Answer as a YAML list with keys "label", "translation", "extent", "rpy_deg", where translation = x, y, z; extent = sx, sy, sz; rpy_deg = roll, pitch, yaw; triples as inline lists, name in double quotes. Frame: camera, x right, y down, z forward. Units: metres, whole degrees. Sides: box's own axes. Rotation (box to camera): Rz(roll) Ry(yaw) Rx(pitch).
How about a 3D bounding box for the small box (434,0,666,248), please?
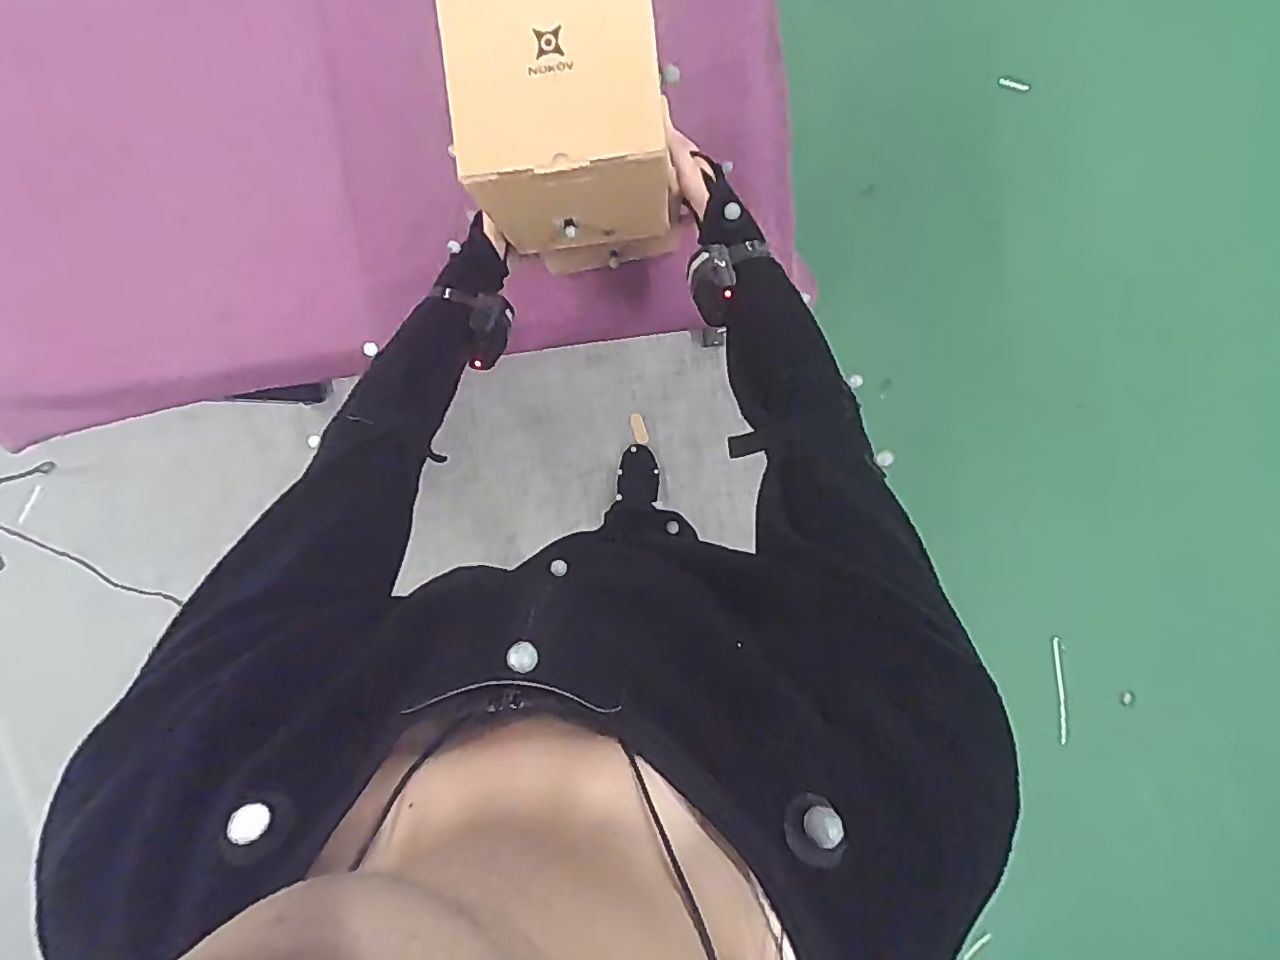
- label: "small box"
  translation: [-0.067, -0.334, 0.486]
  extent: [0.168, 0.176, 0.179]
  rpy_deg: [-6, 94, 4]

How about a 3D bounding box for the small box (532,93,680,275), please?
- label: "small box"
  translation: [-0.055, -0.365, 0.647]
  extent: [0.179, 0.176, 0.168]
  rpy_deg: [-11, 93, 3]
